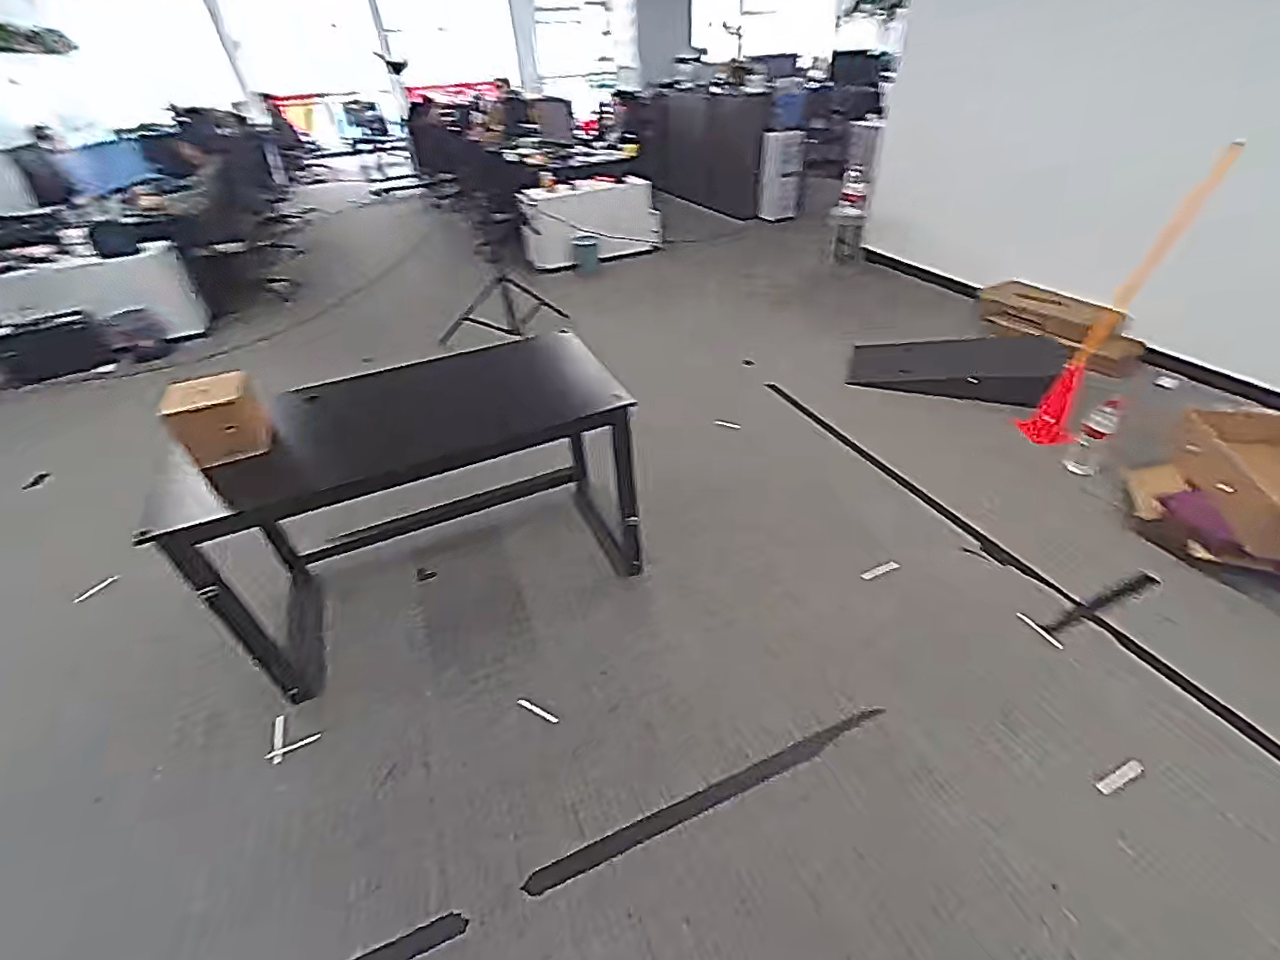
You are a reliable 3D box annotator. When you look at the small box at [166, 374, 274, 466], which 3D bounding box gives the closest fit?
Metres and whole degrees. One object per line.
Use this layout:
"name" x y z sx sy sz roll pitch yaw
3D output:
"small box" -1.097 -0.153 1.430 0.168 0.176 0.179 -18 40 -19
